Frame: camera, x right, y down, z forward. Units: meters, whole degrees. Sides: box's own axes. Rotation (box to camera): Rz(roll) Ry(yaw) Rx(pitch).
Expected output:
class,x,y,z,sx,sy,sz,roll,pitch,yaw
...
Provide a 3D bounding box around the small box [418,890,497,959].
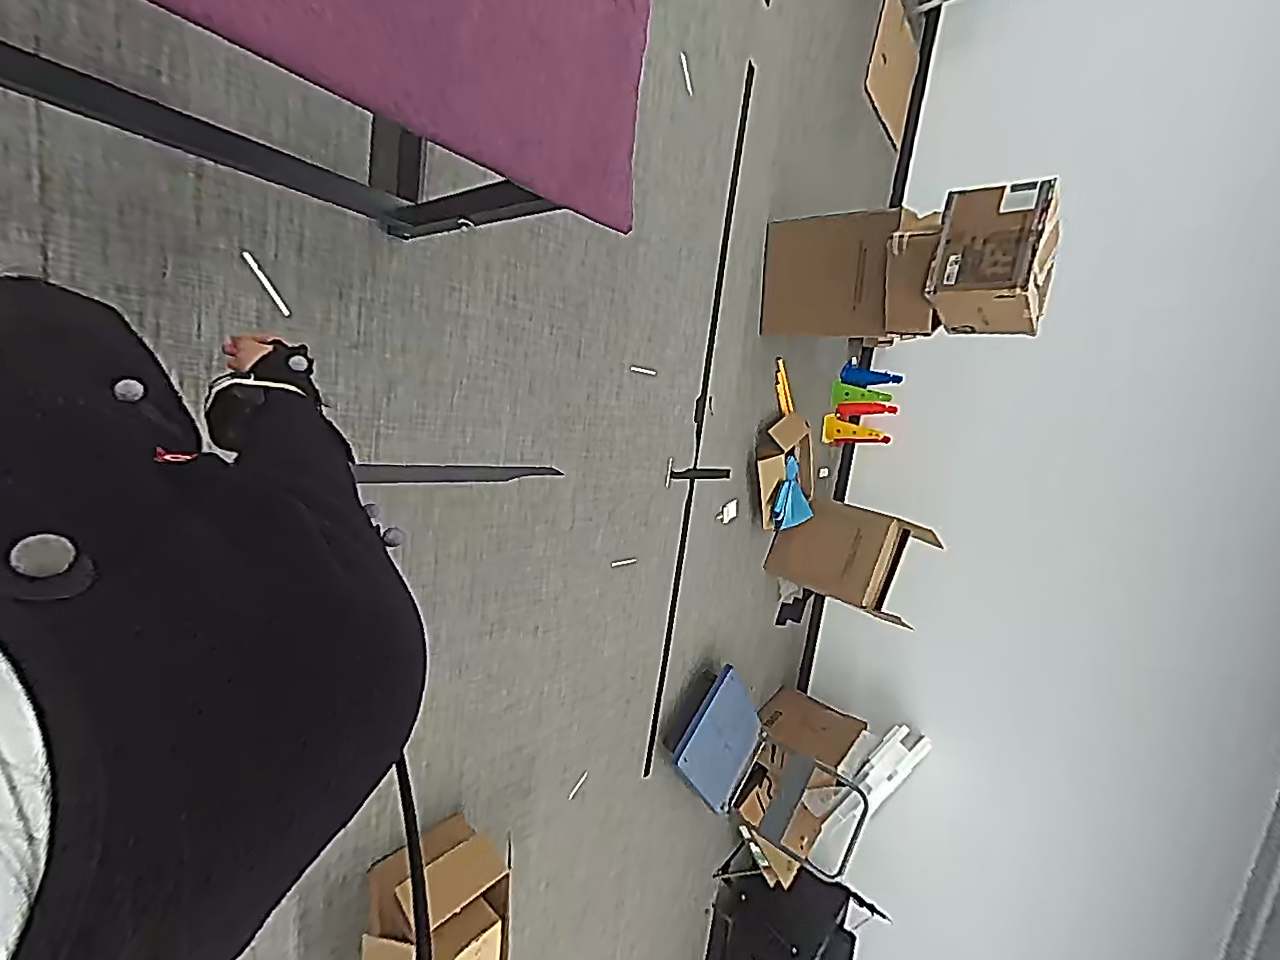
class,x,y,z,sx,sy,sz,roll,pitch,yaw
small box,-0.552,1.402,1.629,0.168,0.176,0.179,-7,106,-50
